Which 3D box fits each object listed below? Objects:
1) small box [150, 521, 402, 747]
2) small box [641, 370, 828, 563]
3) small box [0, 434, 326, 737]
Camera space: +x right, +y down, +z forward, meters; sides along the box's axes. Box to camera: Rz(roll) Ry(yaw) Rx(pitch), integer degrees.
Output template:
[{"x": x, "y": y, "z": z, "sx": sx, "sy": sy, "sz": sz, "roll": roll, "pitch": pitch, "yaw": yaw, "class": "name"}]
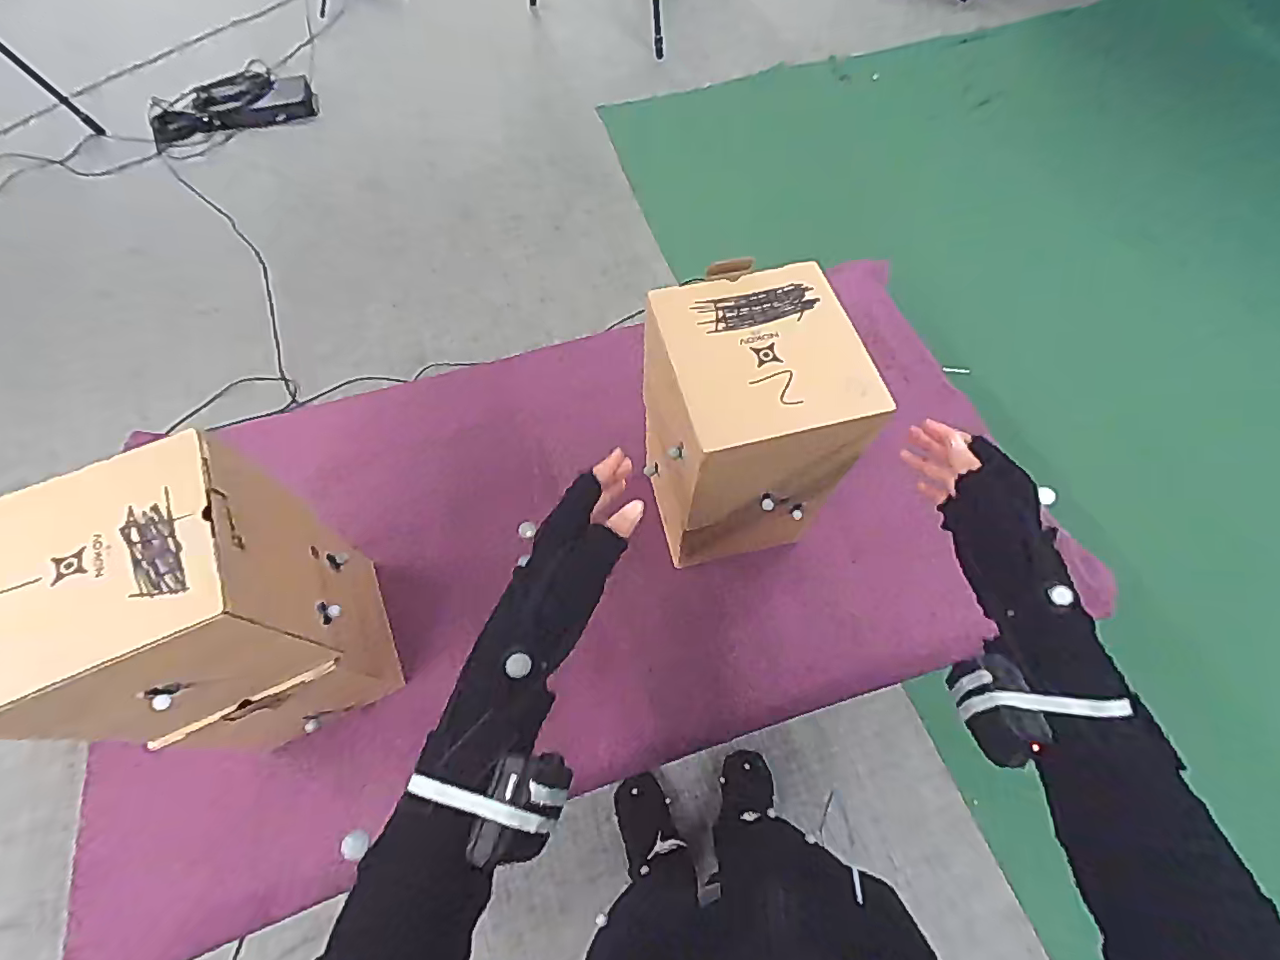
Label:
[{"x": -0.392, "y": 0.175, "z": 0.598, "sx": 0.168, "sy": 0.176, "sz": 0.179, "roll": -24, "pitch": 66, "yaw": -10, "class": "small box"}, {"x": 0.105, "y": -0.008, "z": 0.682, "sx": 0.179, "sy": 0.176, "sz": 0.168, "roll": -13, "pitch": 64, "yaw": -5, "class": "small box"}, {"x": -0.390, "y": 0.095, "z": 0.452, "sx": 0.179, "sy": 0.176, "sz": 0.168, "roll": -21, "pitch": 63, "yaw": -10, "class": "small box"}]
